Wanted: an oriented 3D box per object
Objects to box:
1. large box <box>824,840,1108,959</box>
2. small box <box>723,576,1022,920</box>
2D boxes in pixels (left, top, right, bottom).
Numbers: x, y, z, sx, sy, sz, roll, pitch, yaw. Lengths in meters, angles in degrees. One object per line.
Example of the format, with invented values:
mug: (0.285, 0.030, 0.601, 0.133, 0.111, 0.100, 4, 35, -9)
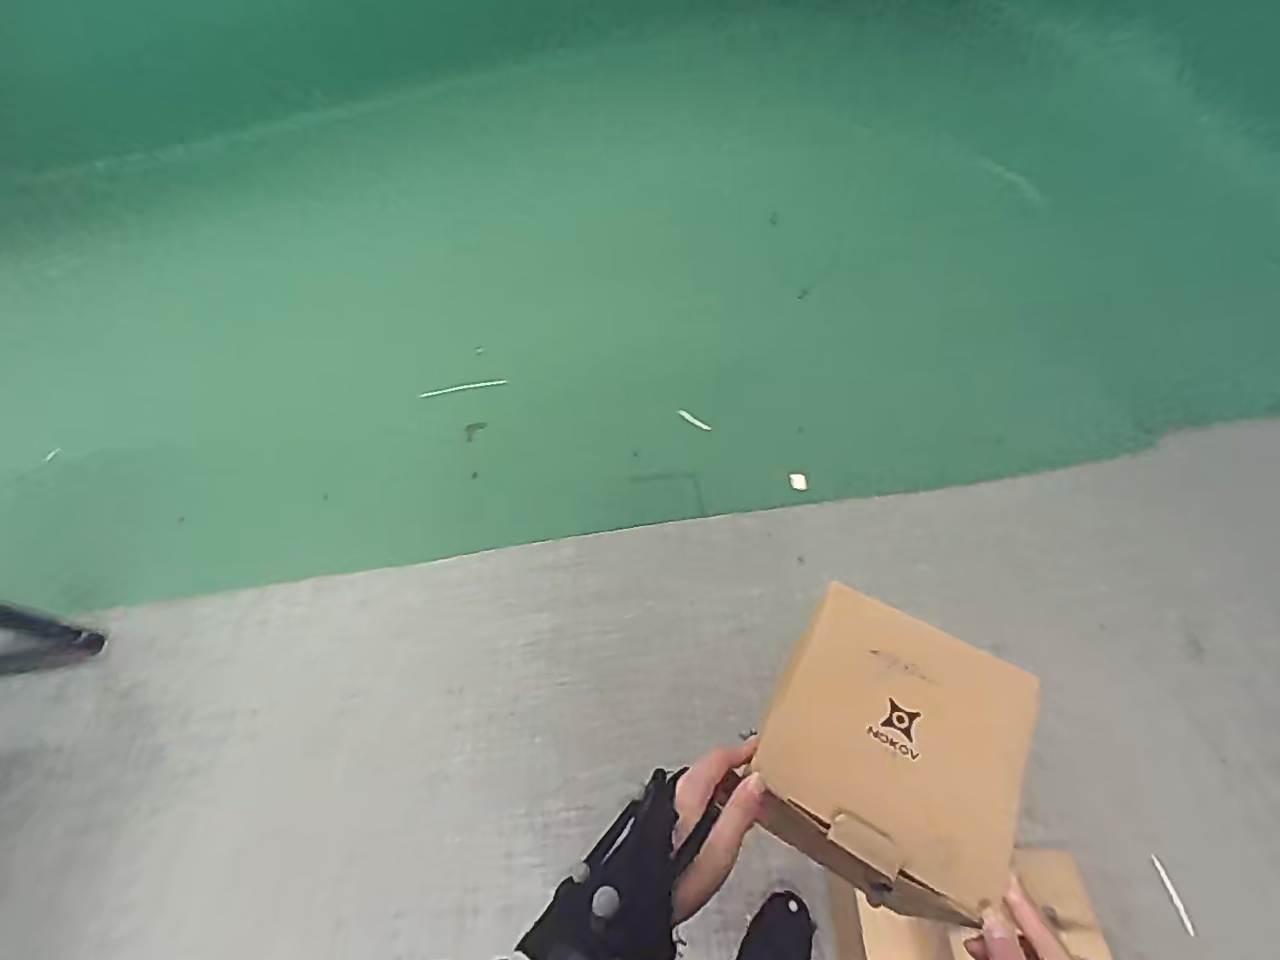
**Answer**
large box: (0.488, 0.791, 0.814, 0.320, 0.320, 0.408, -5, 58, 8)
small box: (0.179, 0.220, 0.456, 0.168, 0.176, 0.179, 24, 58, 17)
